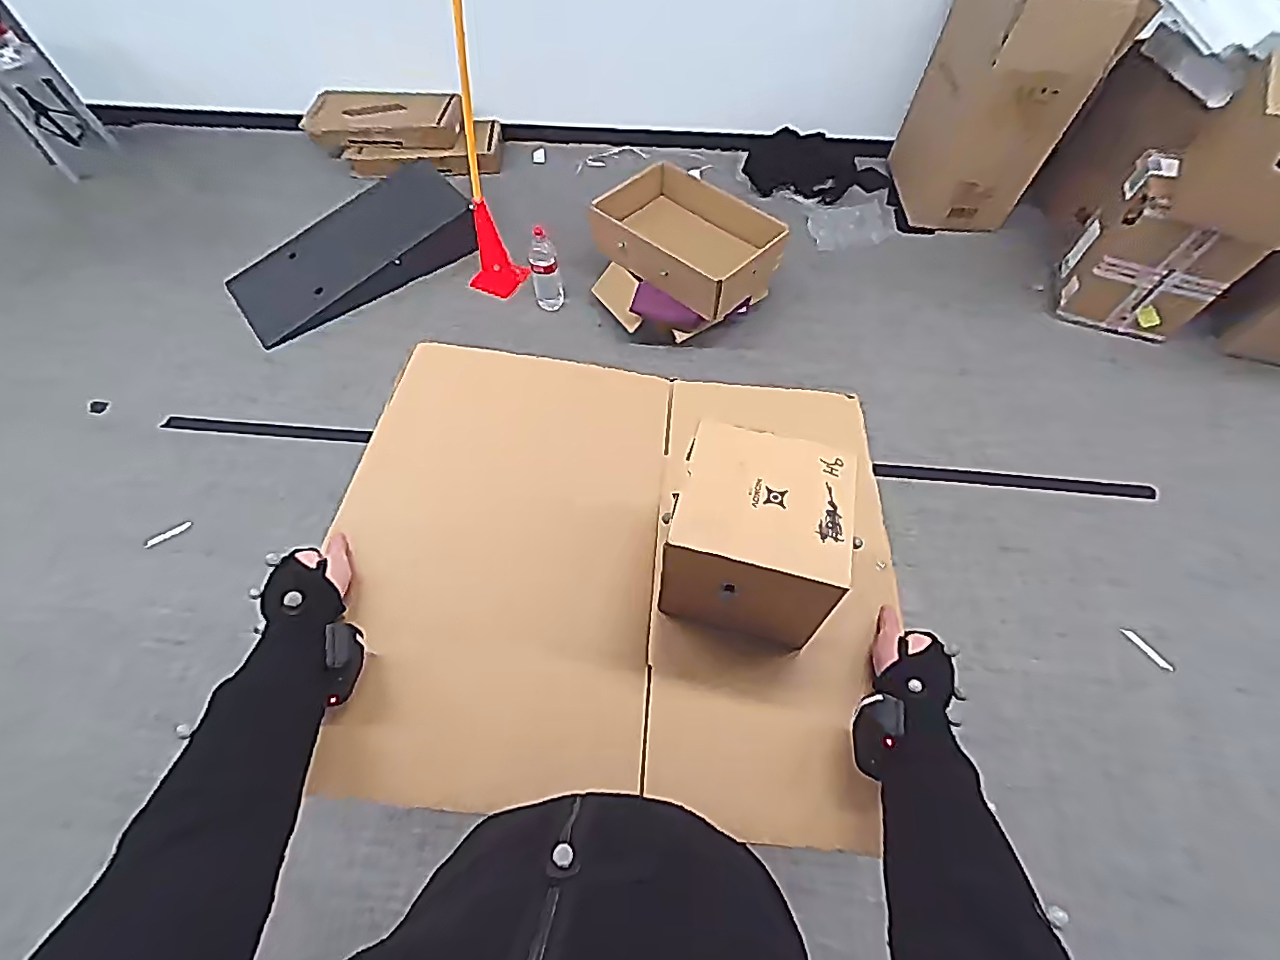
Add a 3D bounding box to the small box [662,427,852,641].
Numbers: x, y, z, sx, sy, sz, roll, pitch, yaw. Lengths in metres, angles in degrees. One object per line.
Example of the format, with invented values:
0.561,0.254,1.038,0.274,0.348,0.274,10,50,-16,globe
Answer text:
0.127,0.066,0.621,0.179,0.176,0.168,12,56,9,small box
